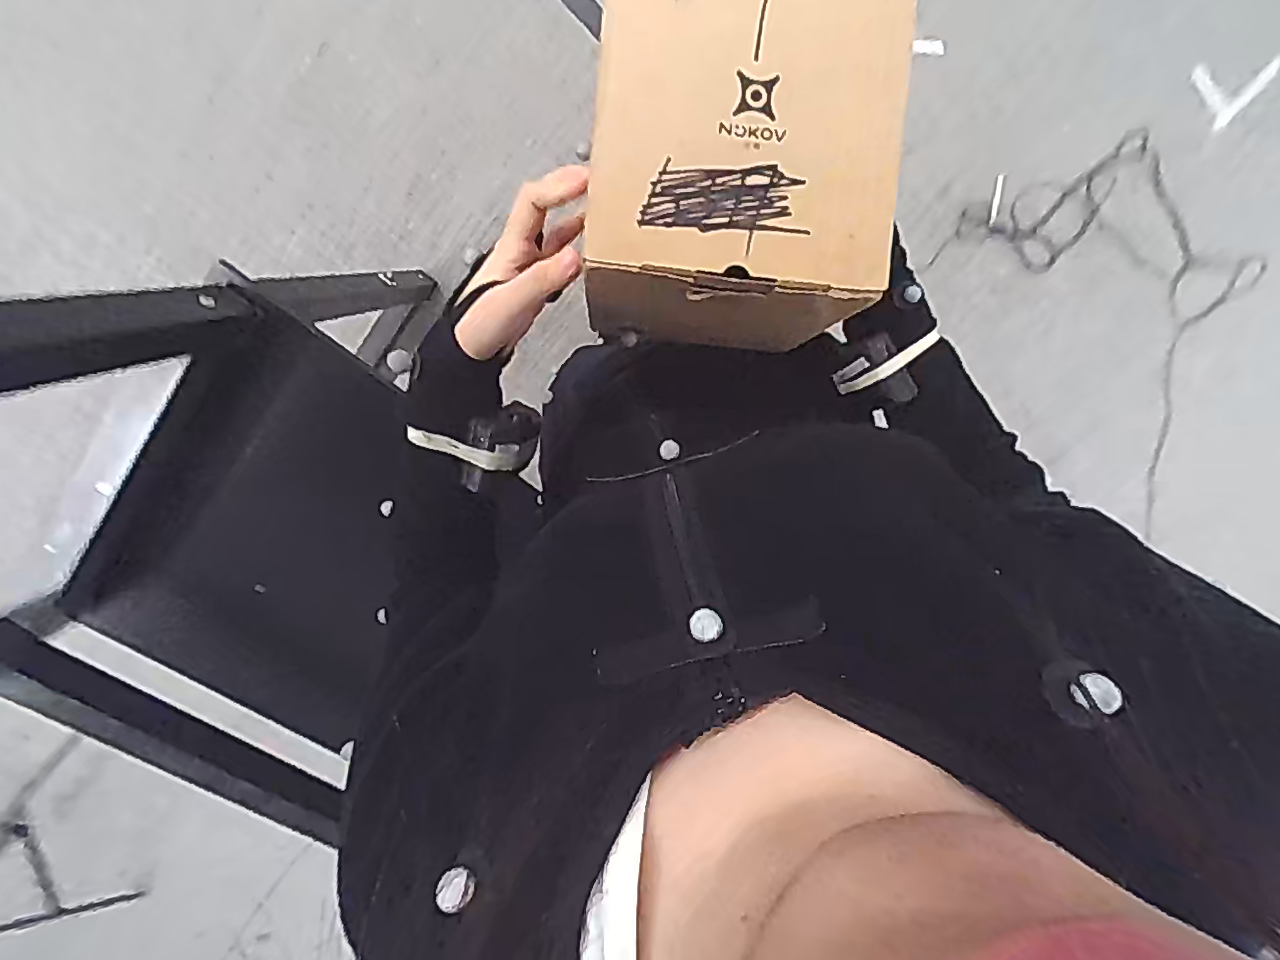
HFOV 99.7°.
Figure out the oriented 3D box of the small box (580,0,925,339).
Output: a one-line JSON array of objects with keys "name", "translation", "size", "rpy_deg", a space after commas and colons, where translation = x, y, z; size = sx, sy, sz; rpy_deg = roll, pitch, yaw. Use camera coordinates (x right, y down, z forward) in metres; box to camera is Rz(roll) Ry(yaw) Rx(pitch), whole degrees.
[{"name": "small box", "translation": [0.055, -0.201, 0.362], "size": [0.168, 0.176, 0.179], "rpy_deg": [6, 93, -4]}]
